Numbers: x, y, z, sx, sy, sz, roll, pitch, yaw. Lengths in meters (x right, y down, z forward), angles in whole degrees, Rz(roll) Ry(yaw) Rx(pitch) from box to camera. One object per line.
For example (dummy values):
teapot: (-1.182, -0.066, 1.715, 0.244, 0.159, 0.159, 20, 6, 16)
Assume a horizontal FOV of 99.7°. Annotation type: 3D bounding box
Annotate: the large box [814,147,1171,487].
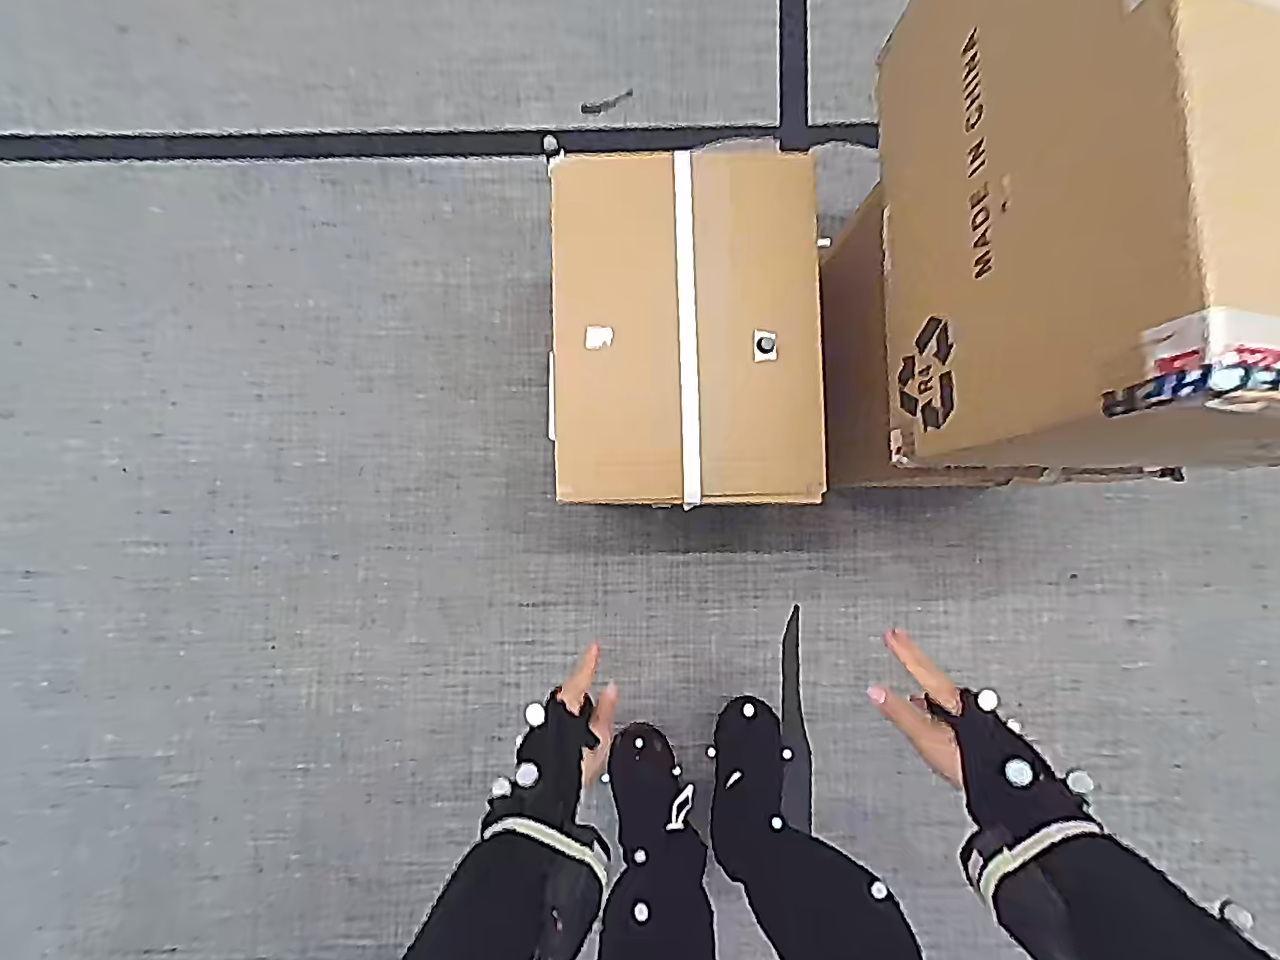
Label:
large box: (0.466, -0.198, 0.793, 0.320, 0.320, 0.408, -1, 87, -1)
